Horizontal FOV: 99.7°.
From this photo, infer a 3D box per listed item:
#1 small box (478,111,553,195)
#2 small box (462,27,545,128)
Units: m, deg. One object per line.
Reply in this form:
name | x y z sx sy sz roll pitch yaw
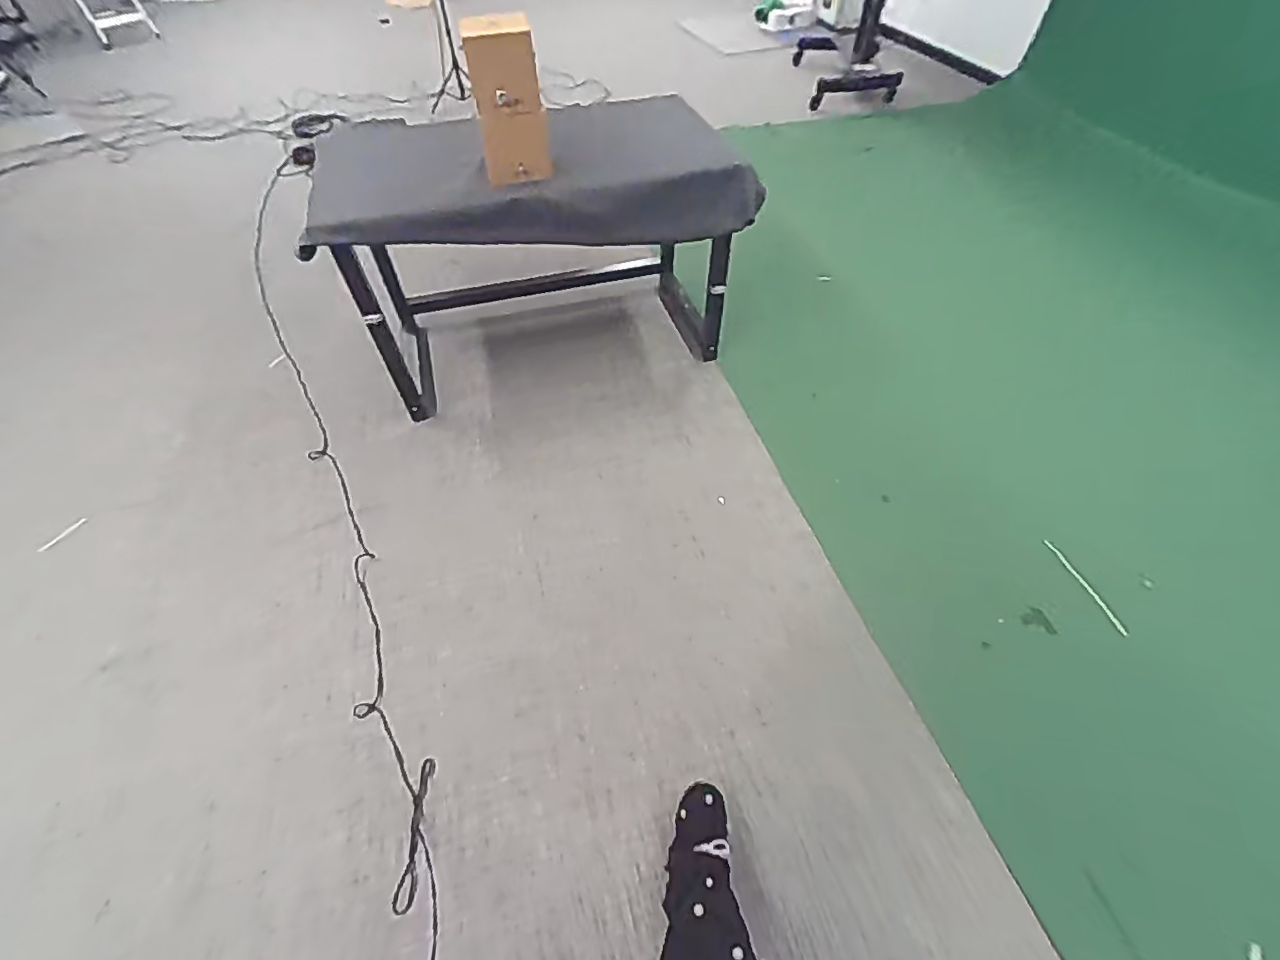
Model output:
small box | -0.342 -0.920 1.507 0.179 0.176 0.168 -11 51 -9
small box | -0.349 -1.030 1.386 0.168 0.176 0.179 -14 53 -8
